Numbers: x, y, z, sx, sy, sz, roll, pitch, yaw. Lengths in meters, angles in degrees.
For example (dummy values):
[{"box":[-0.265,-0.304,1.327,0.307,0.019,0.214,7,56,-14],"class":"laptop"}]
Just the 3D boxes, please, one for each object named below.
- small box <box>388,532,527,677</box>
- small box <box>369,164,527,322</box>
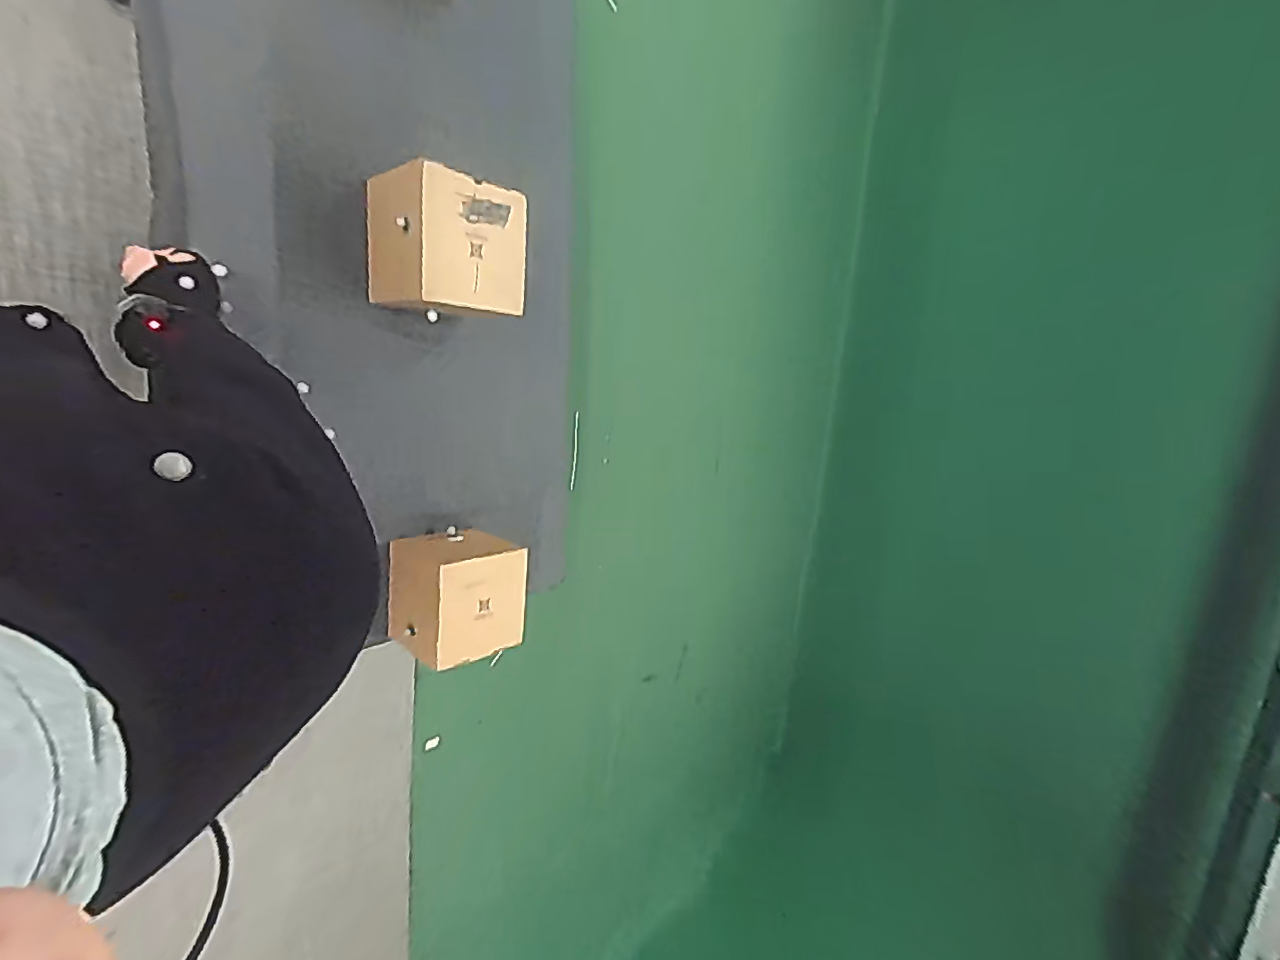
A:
[{"box":[-0.314,0.201,0.926,0.168,0.176,0.179,-7,104,-49],"class":"small box"},{"box":[-0.288,-0.336,0.807,0.168,0.176,0.179,-8,107,-48],"class":"small box"}]
